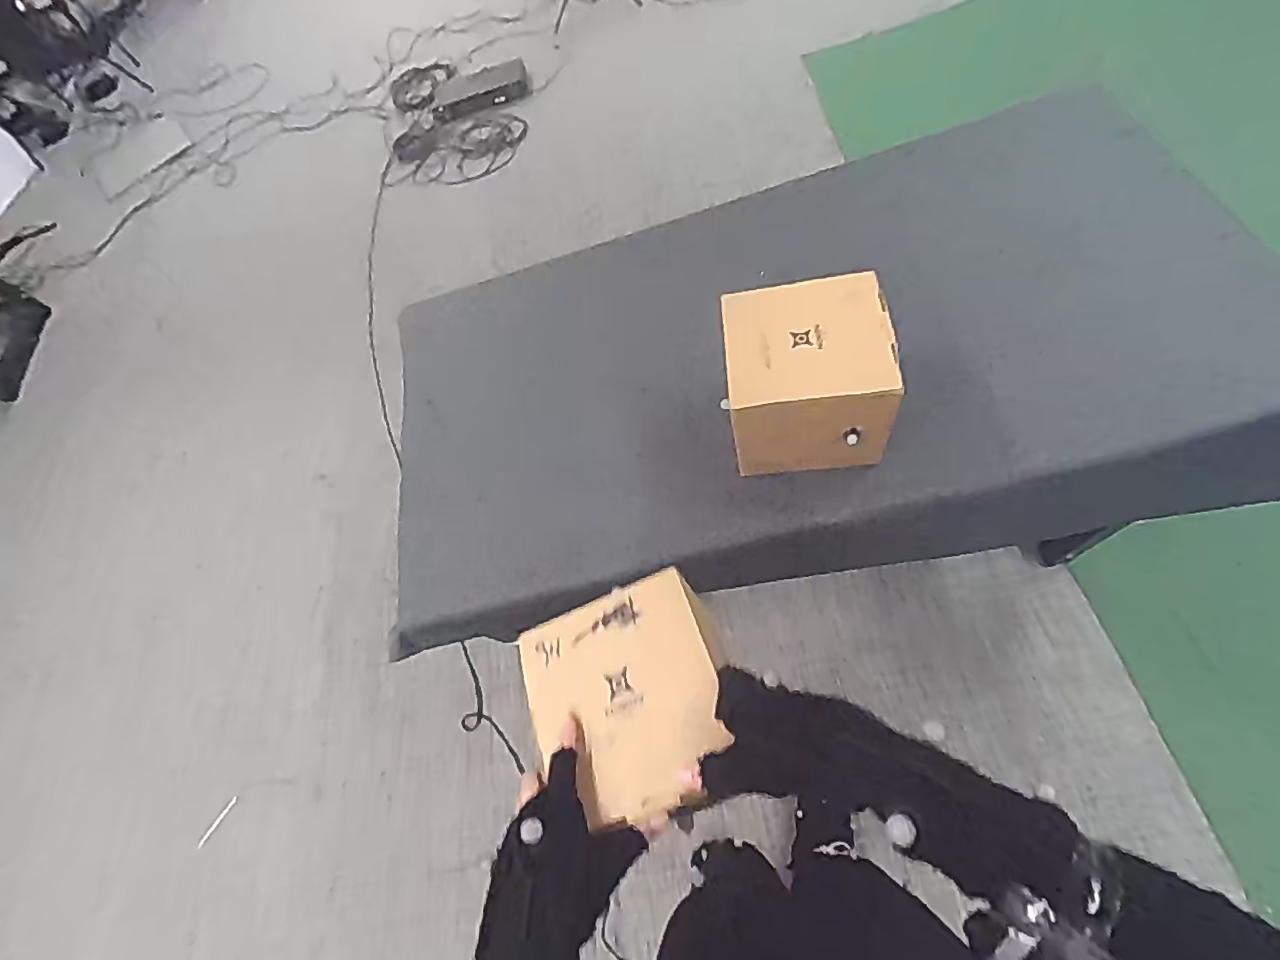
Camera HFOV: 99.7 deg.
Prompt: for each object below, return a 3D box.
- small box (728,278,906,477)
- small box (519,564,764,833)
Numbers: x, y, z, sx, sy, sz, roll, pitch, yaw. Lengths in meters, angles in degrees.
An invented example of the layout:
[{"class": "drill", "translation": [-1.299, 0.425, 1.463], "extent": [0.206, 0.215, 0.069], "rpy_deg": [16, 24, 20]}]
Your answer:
[{"class": "small box", "translation": [0.206, -0.115, 0.668], "extent": [0.179, 0.176, 0.168], "rpy_deg": [-5, 63, 13]}, {"class": "small box", "translation": [0.007, 0.212, 0.524], "extent": [0.168, 0.176, 0.179], "rpy_deg": [-24, 56, 5]}]
